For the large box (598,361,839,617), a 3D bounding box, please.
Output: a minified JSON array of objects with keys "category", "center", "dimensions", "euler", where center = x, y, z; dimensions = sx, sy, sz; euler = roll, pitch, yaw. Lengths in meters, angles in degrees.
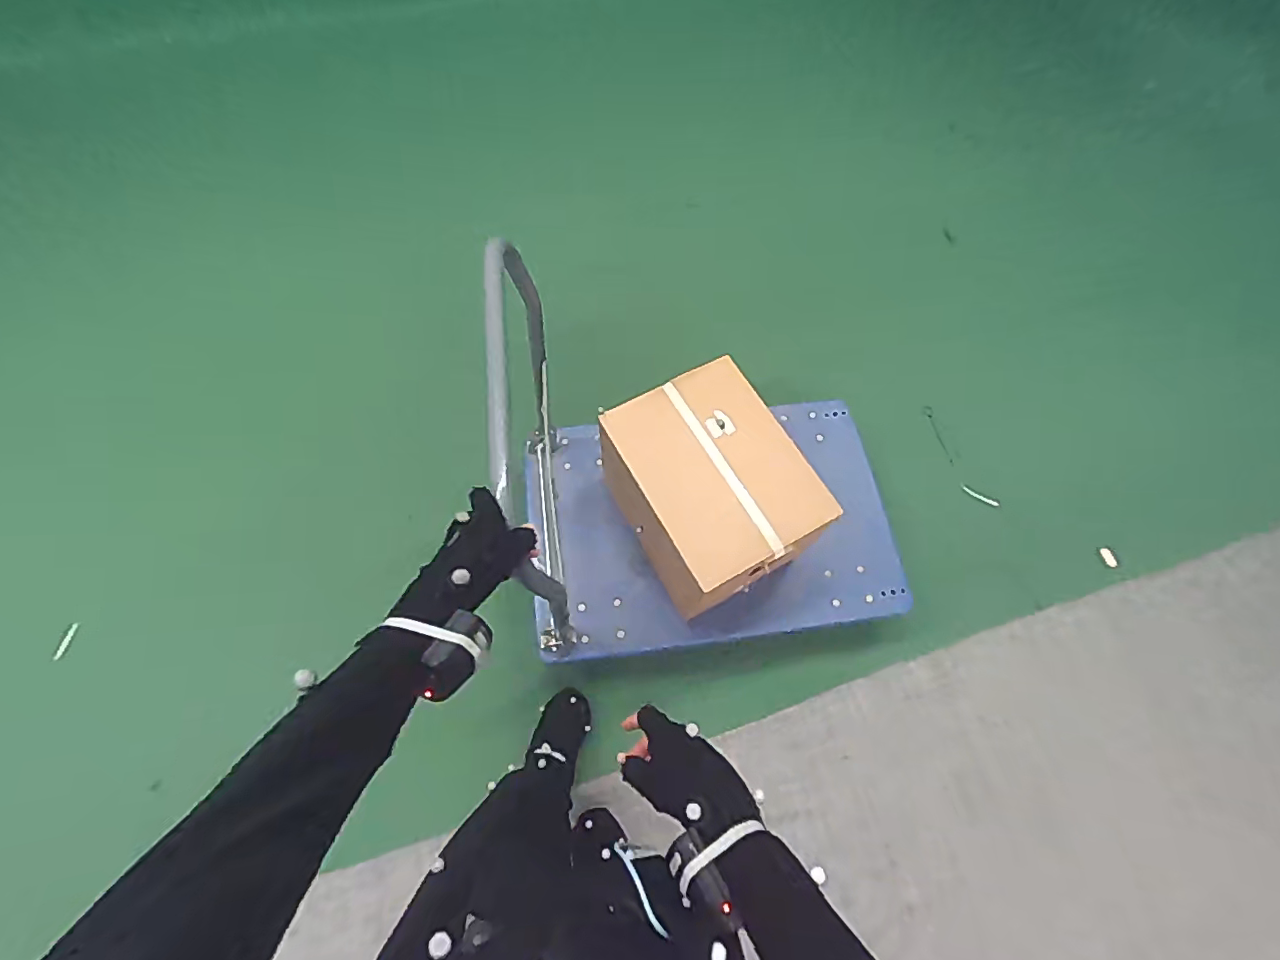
[{"category":"large box","center":[0.145,0.031,1.184],"dimensions":[0.320,0.320,0.408],"euler":[-27,69,-13]}]
